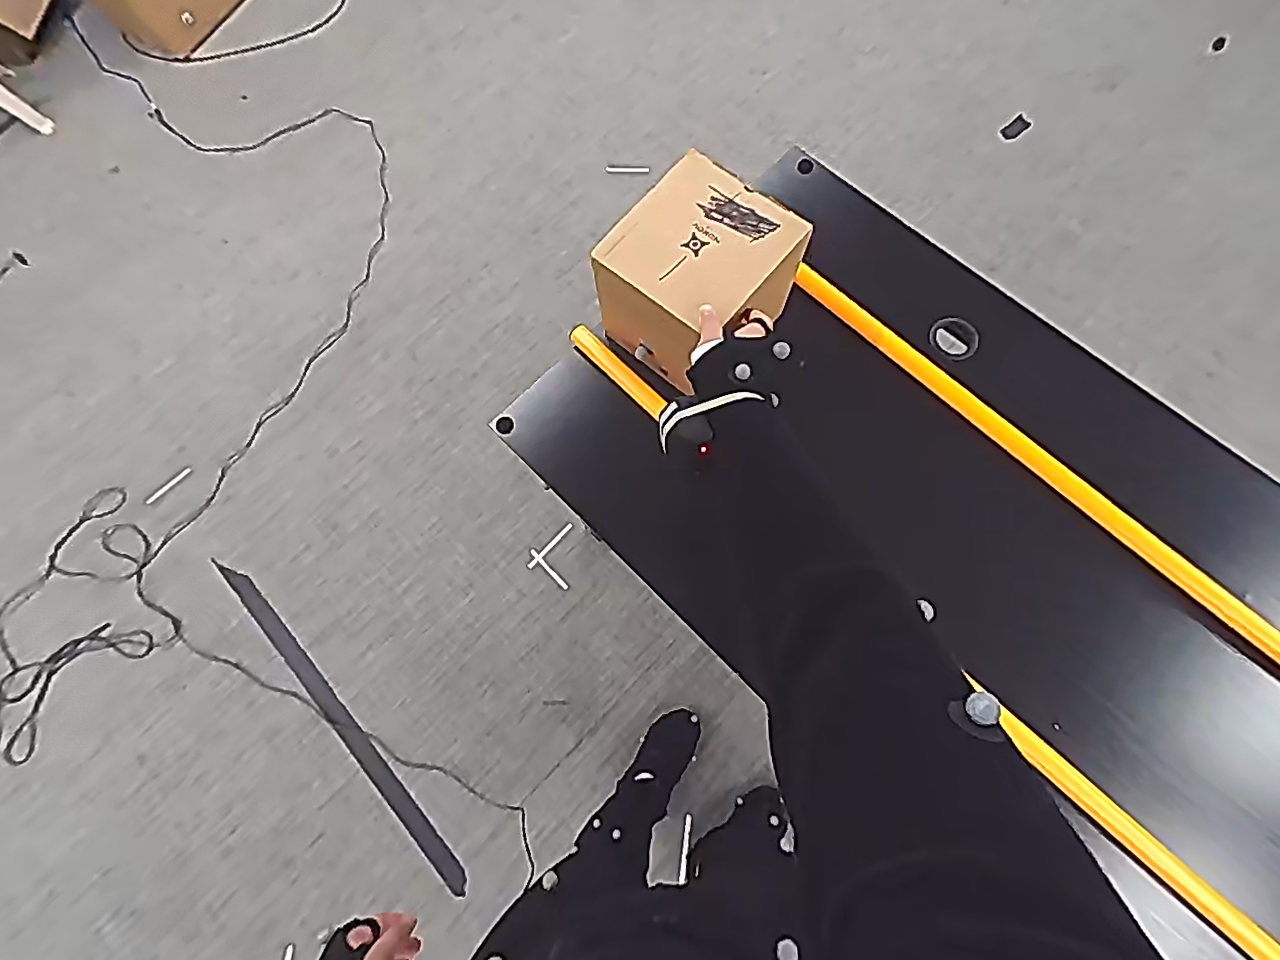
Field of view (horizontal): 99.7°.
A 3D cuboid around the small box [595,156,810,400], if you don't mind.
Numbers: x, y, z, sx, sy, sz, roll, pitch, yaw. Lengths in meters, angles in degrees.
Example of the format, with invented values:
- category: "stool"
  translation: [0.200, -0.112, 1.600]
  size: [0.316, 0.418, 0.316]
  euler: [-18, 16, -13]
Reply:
- category: "small box"
  translation: [0.069, -0.231, 0.652]
  size: [0.168, 0.176, 0.179]
  euler: [39, 81, 12]
